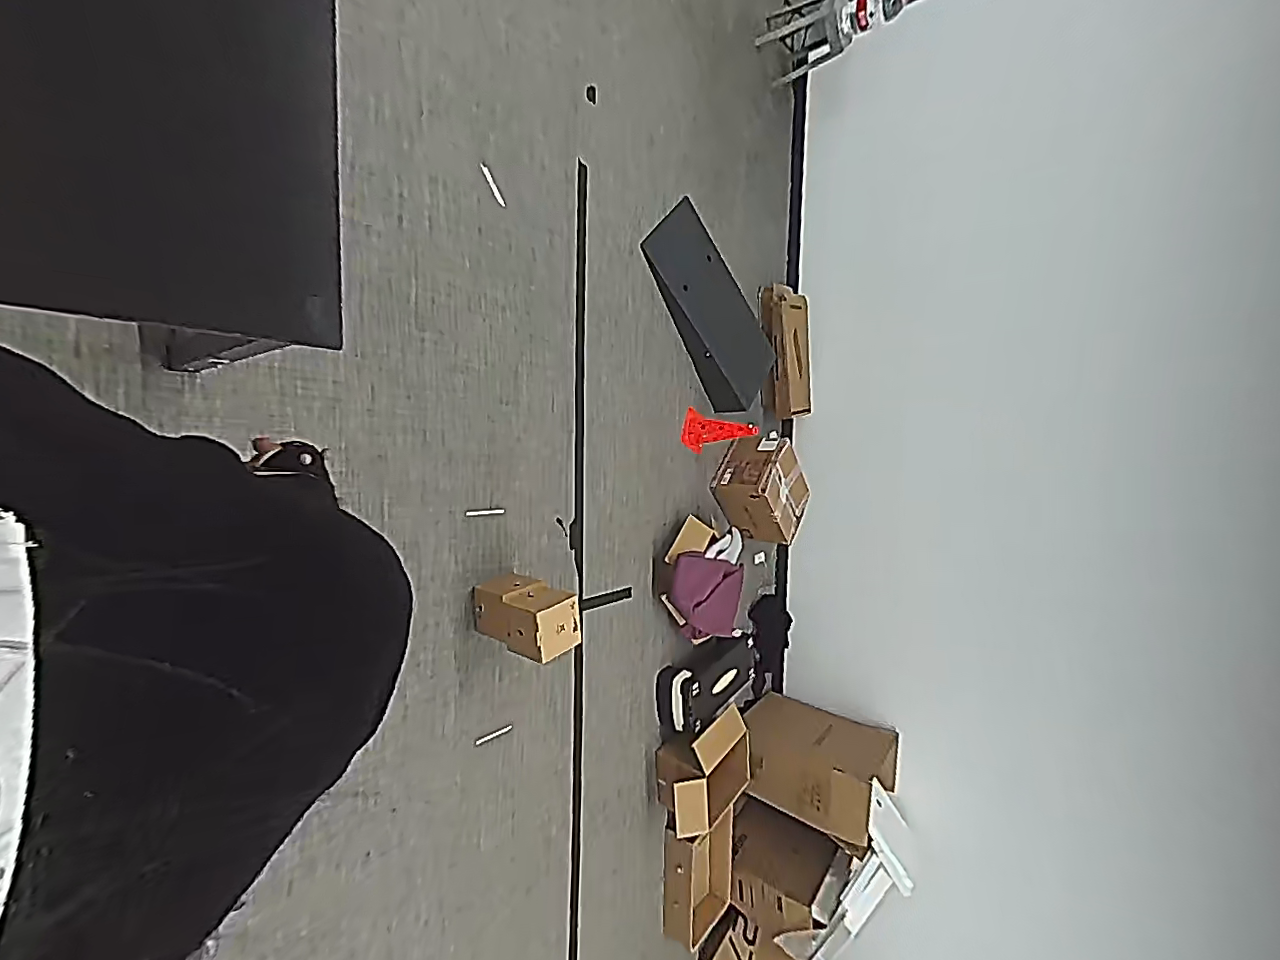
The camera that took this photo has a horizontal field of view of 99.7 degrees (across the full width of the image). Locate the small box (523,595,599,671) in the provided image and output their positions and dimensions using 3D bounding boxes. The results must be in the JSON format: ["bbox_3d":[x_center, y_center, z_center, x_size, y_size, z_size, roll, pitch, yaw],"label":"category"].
[{"bbox_3d":[-0.254,0.477,1.713,0.179,0.176,0.168,-14,104,-50],"label":"small box"}]

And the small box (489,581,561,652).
[{"bbox_3d":[-0.382,0.450,1.813,0.179,0.176,0.168,-13,103,-49],"label":"small box"}]
